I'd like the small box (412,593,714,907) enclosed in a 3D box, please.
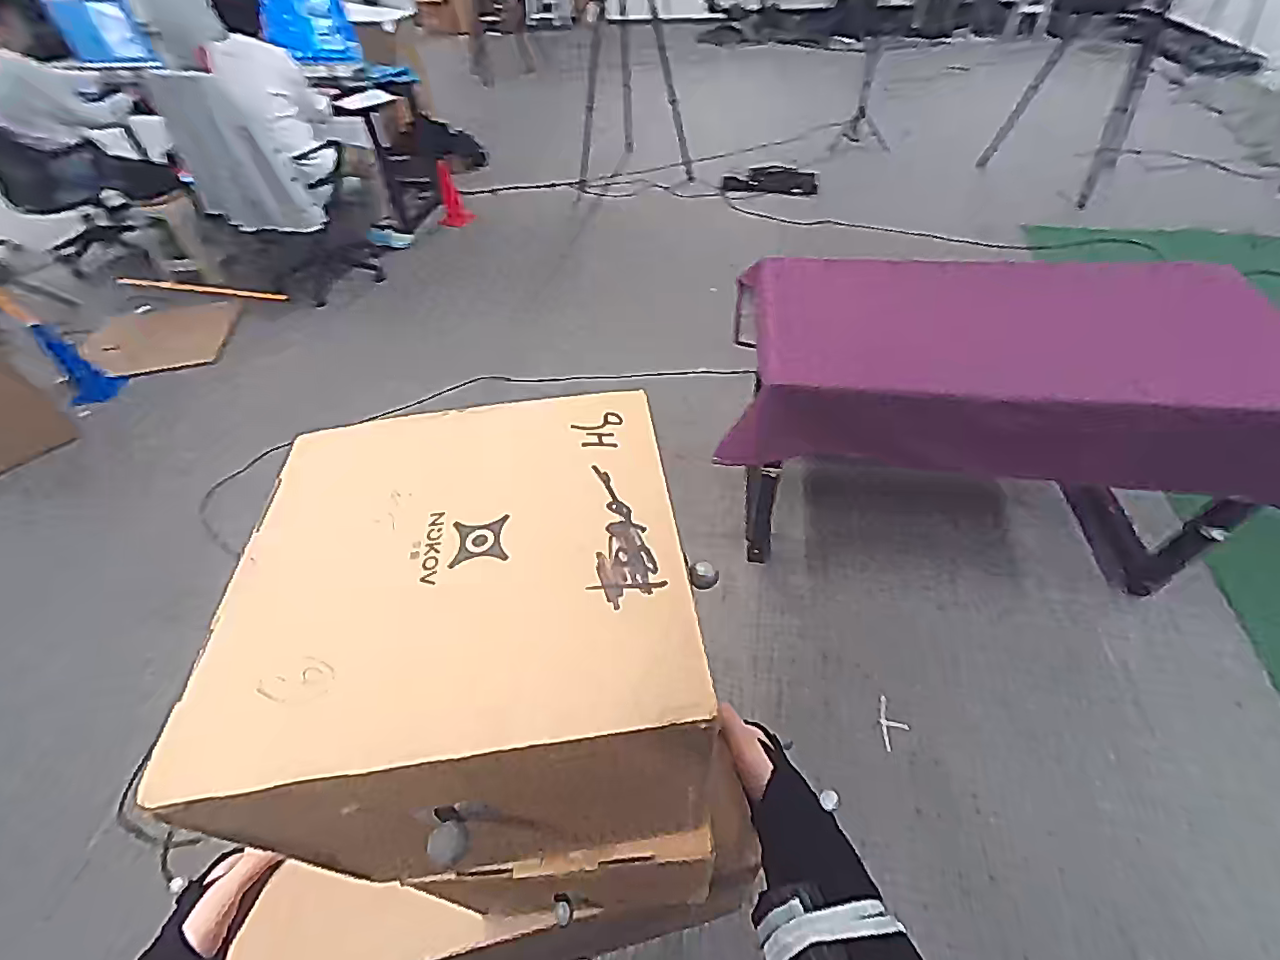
[{"bbox_3d":[-0.041,0.192,0.398,0.168,0.176,0.179,-4,48,1],"label":"small box"}]

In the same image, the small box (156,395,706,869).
[{"bbox_3d":[-0.065,0.082,0.277,0.179,0.176,0.168,-8,48,-1],"label":"small box"}]
